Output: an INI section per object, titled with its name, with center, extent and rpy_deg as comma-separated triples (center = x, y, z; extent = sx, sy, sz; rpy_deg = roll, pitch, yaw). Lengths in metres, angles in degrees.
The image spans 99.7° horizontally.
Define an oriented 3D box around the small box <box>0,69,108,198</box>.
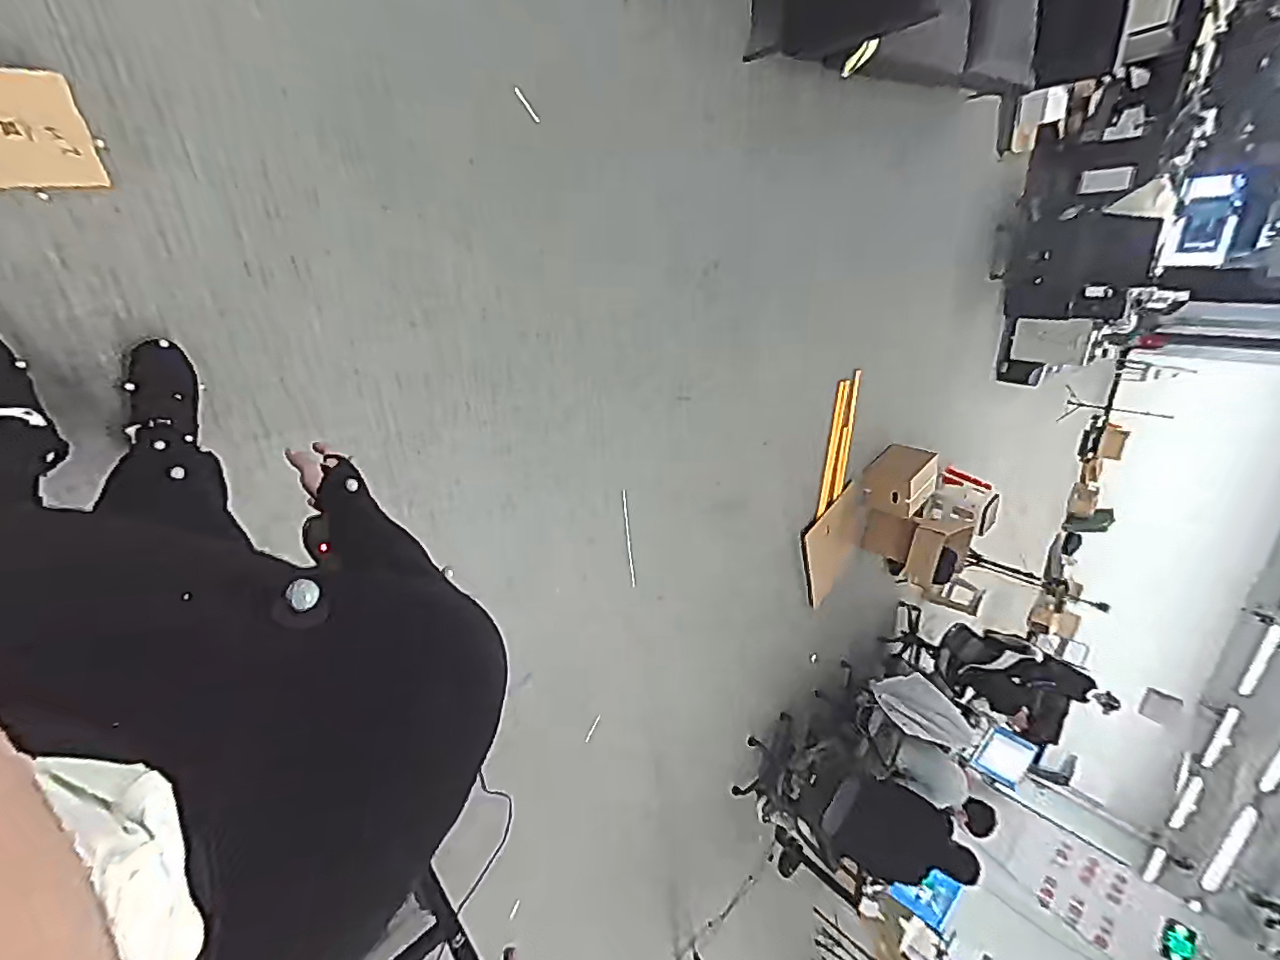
[small box]
center = -1.057, -0.582, 0.921
extent = 0.179, 0.176, 0.168
rpy_deg = -24, 121, -36
